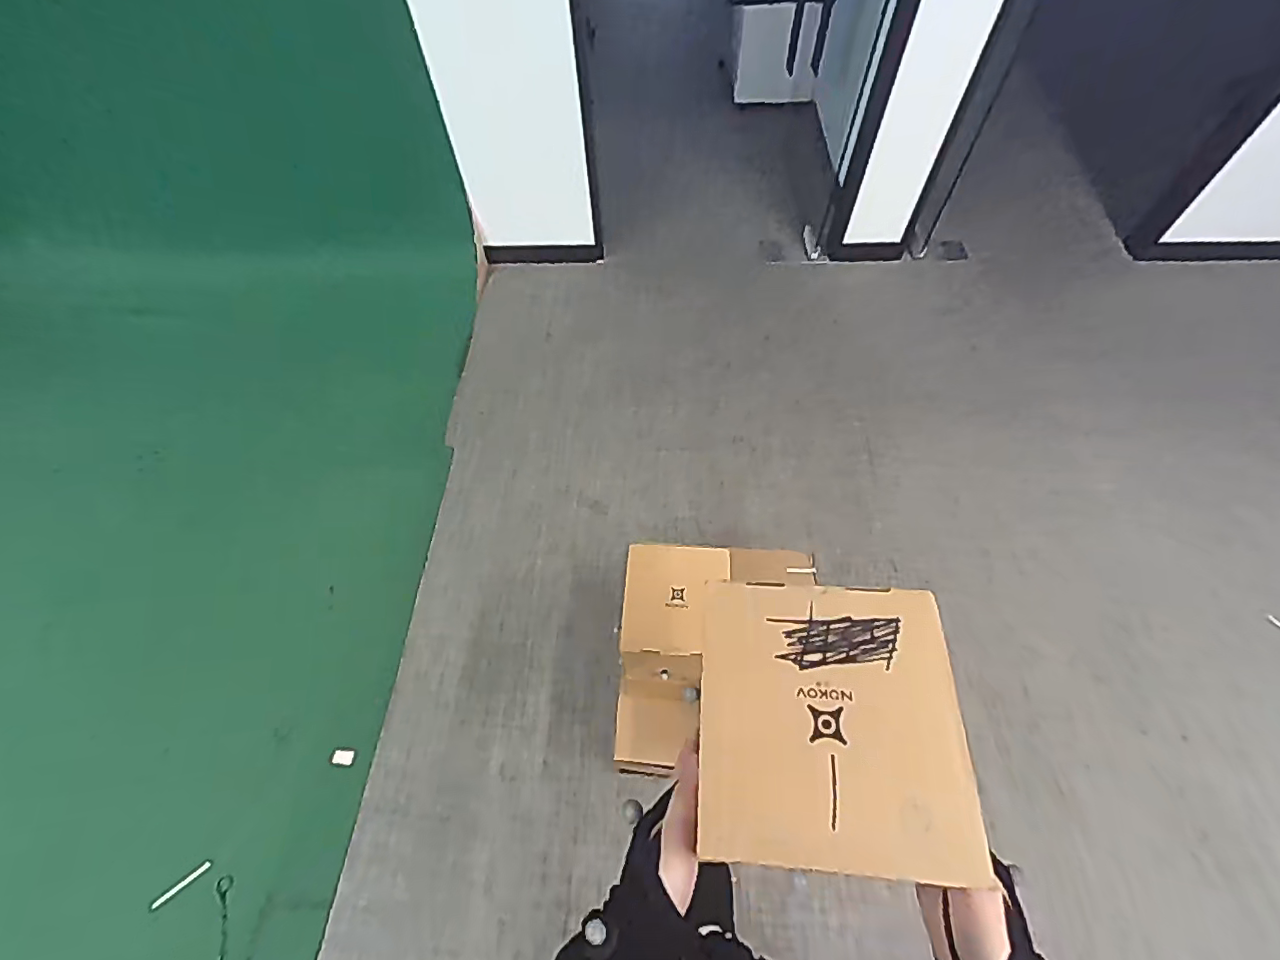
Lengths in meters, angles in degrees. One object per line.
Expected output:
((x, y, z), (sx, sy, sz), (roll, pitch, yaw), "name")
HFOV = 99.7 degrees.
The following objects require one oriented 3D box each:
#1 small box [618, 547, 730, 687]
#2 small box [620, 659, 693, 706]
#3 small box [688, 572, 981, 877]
((0.057, 0.230, 0.897), (0.168, 0.176, 0.179), (3, 57, 4), "small box")
((0.057, 0.322, 1.032), (0.168, 0.176, 0.179), (4, 56, 4), "small box")
((0.123, 0.189, 0.421), (0.168, 0.176, 0.179), (1, 57, 7), "small box")
